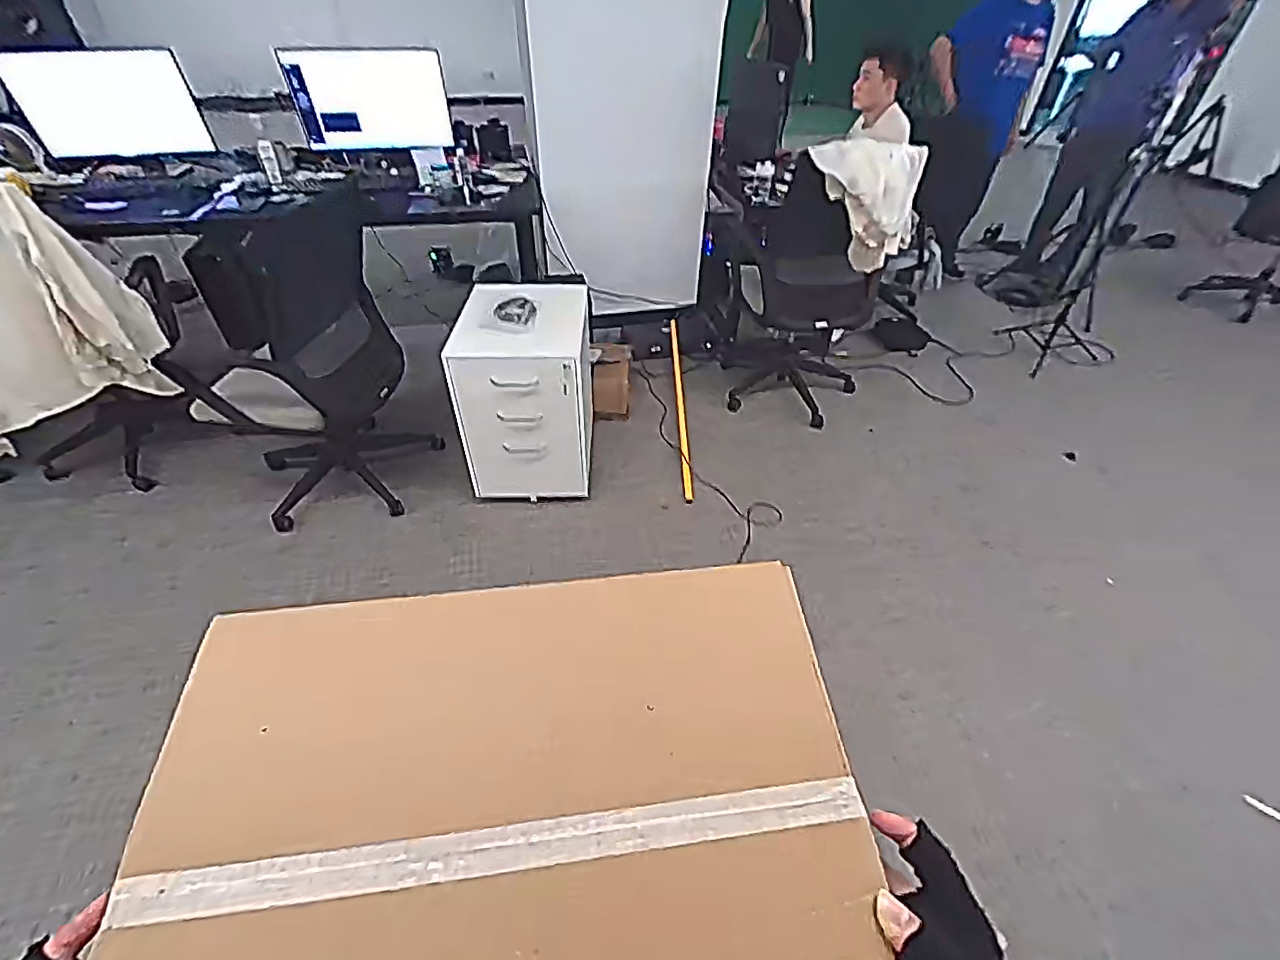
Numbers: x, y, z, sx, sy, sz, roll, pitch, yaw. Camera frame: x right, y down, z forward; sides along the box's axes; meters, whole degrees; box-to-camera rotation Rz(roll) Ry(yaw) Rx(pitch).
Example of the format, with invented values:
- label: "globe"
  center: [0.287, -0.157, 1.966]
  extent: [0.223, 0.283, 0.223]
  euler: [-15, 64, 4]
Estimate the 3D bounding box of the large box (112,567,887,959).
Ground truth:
- label: "large box"
  center: [-0.079, 0.294, 0.433]
  extent: [0.408, 0.320, 0.320]
  euler: [-5, 54, -5]
